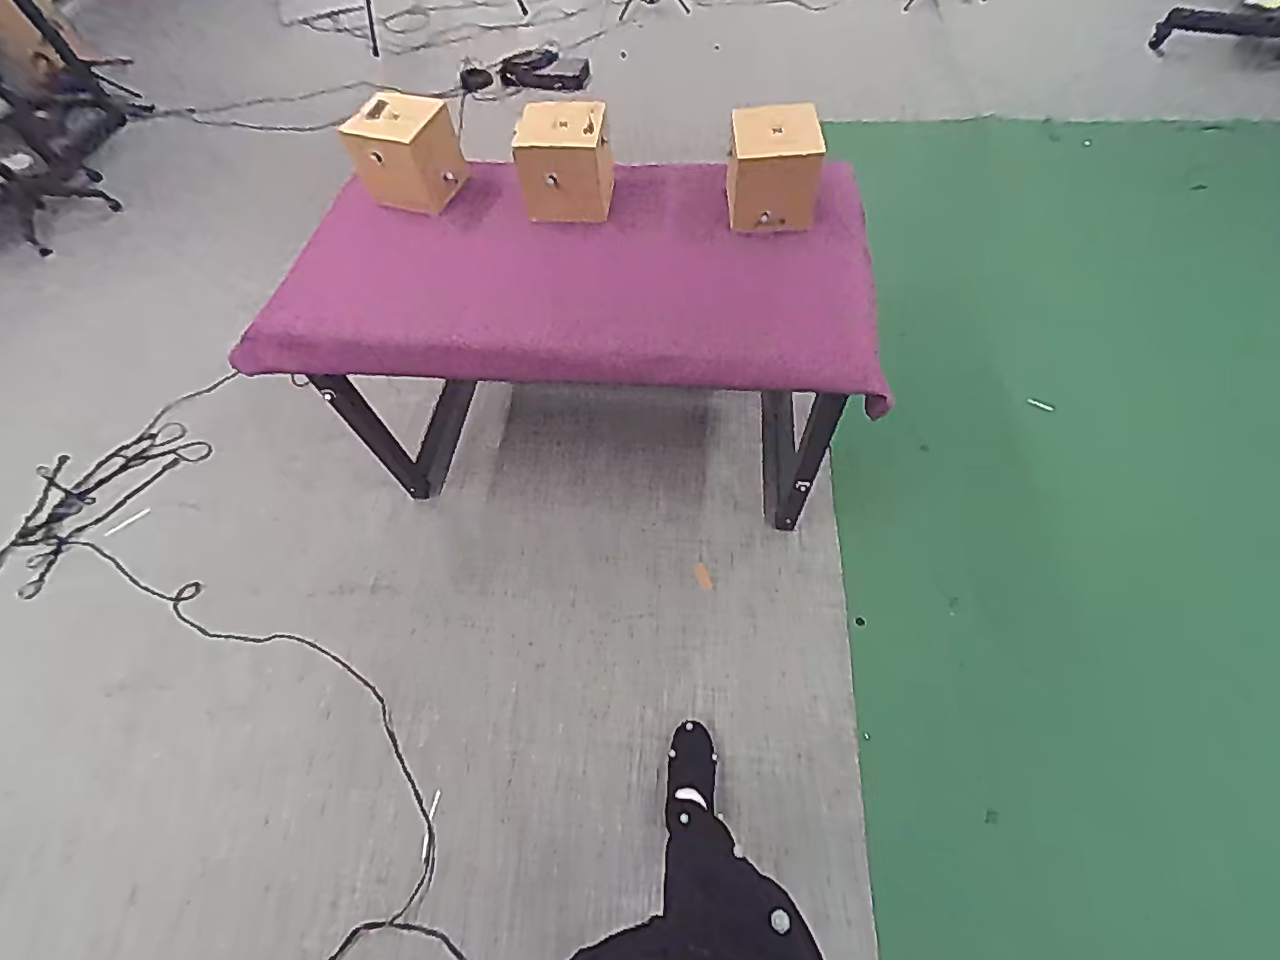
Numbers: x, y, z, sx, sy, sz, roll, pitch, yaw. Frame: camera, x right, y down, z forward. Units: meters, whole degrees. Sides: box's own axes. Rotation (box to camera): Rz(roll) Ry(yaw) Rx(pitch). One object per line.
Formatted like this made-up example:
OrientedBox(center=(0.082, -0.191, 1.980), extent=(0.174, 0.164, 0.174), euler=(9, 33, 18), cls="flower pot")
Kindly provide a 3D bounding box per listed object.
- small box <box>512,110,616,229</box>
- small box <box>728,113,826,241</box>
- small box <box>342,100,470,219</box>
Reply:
OrientedBox(center=(-0.155, -0.669, 1.173), extent=(0.179, 0.176, 0.168), euler=(3, 61, 6), cls="small box")
OrientedBox(center=(0.273, -0.624, 1.120), extent=(0.168, 0.176, 0.179), euler=(-1, 61, 5), cls="small box")
OrientedBox(center=(-0.518, -0.722, 1.224), extent=(0.179, 0.176, 0.168), euler=(15, 63, 11), cls="small box")
